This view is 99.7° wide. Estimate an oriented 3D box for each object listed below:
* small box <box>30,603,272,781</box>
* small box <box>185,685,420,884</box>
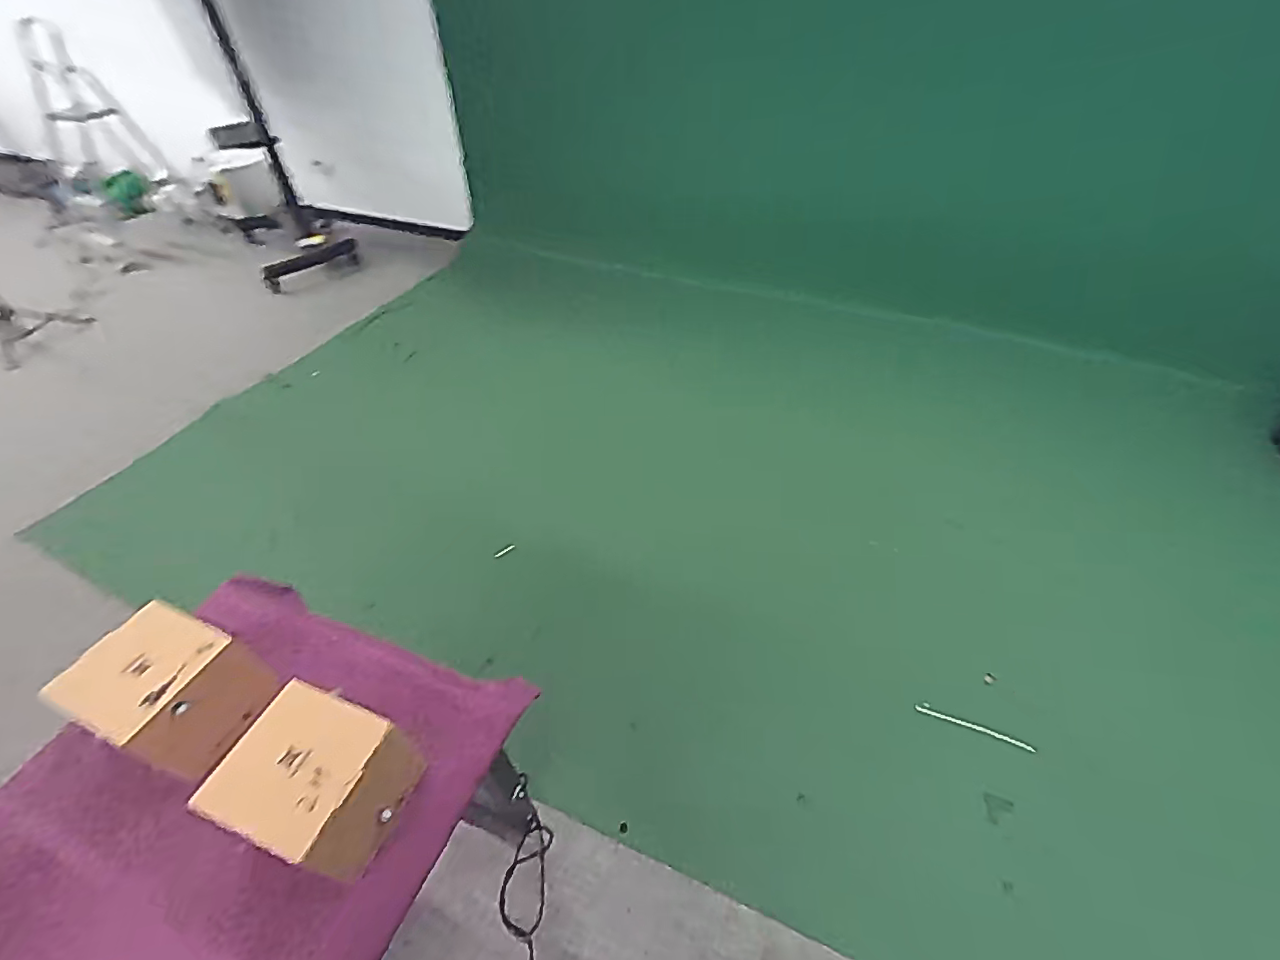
[{"bbox_3d":[-0.714,0.321,0.813,0.179,0.176,0.168,18,49,15],"label":"small box"},{"bbox_3d":[-0.435,0.413,0.730,0.179,0.176,0.168,16,49,14],"label":"small box"}]
